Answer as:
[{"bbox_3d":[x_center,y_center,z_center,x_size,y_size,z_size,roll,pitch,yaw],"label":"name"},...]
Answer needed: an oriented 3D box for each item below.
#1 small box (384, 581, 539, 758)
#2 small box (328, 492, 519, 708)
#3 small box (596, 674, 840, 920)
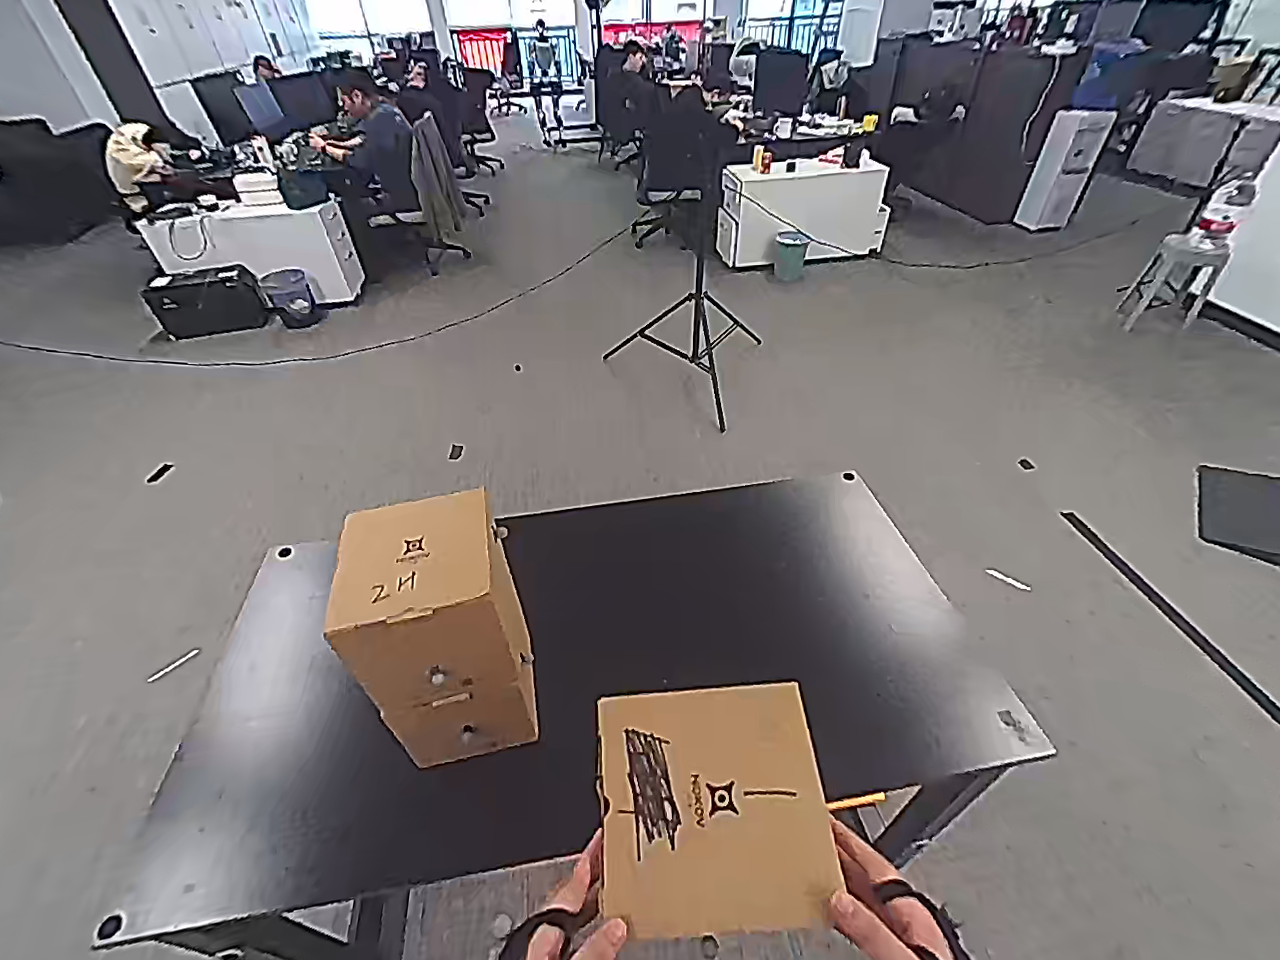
[{"bbox_3d":[-0.244,0.272,0.772,0.168,0.176,0.179,-11,42,-9],"label":"small box"},{"bbox_3d":[-0.250,0.144,0.665,0.168,0.176,0.179,-12,42,-9],"label":"small box"},{"bbox_3d":[0.058,0.292,0.492,0.179,0.176,0.168,-5,52,1],"label":"small box"}]
